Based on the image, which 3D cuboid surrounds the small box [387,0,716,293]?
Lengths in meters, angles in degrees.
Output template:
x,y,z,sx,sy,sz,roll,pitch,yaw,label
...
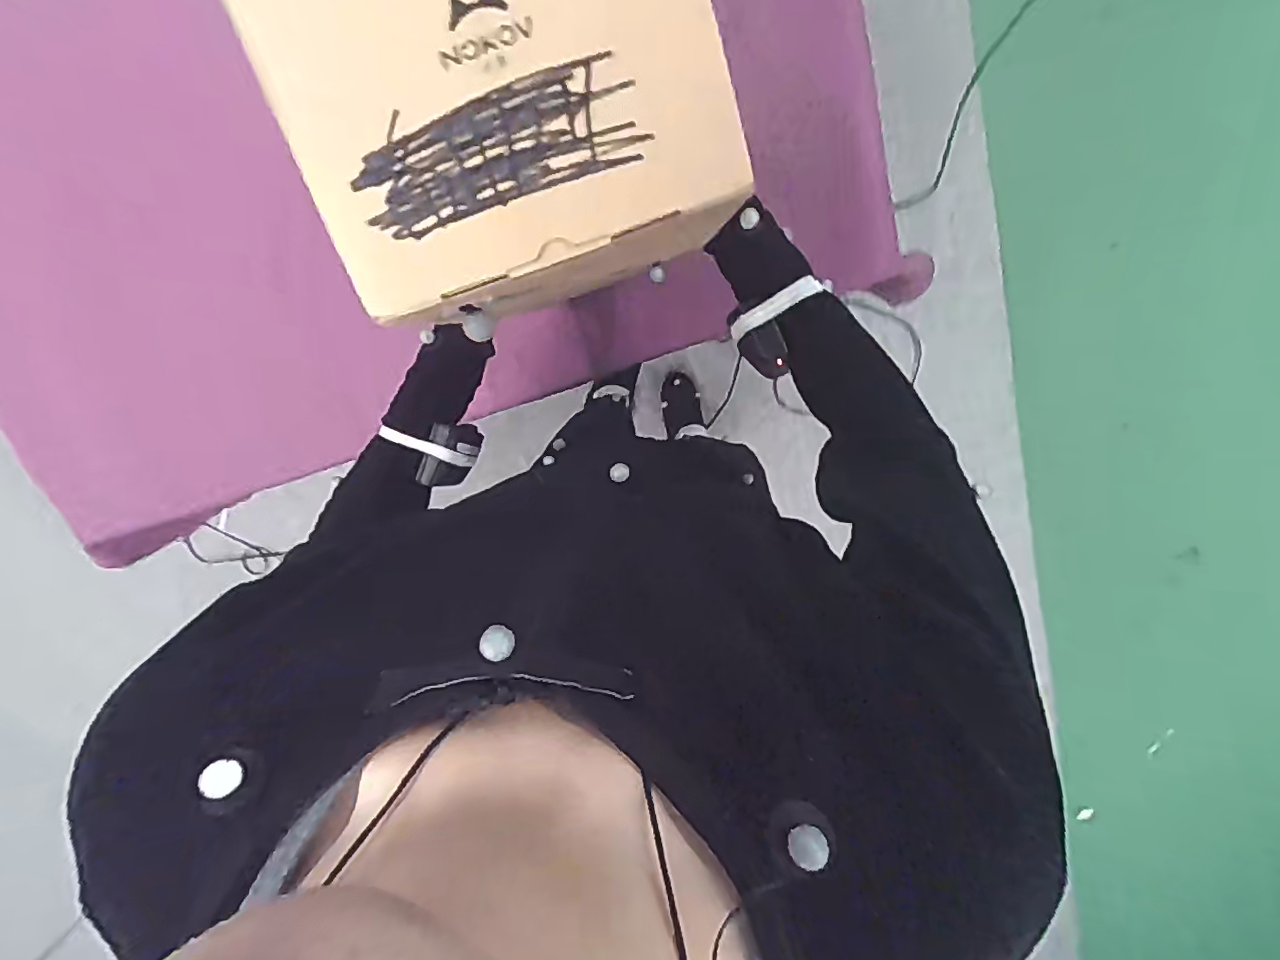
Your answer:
x,y,z,sx,sy,sz,roll,pitch,yaw,label
-0.055,-0.258,0.431,0.179,0.176,0.168,-18,106,6,small box
